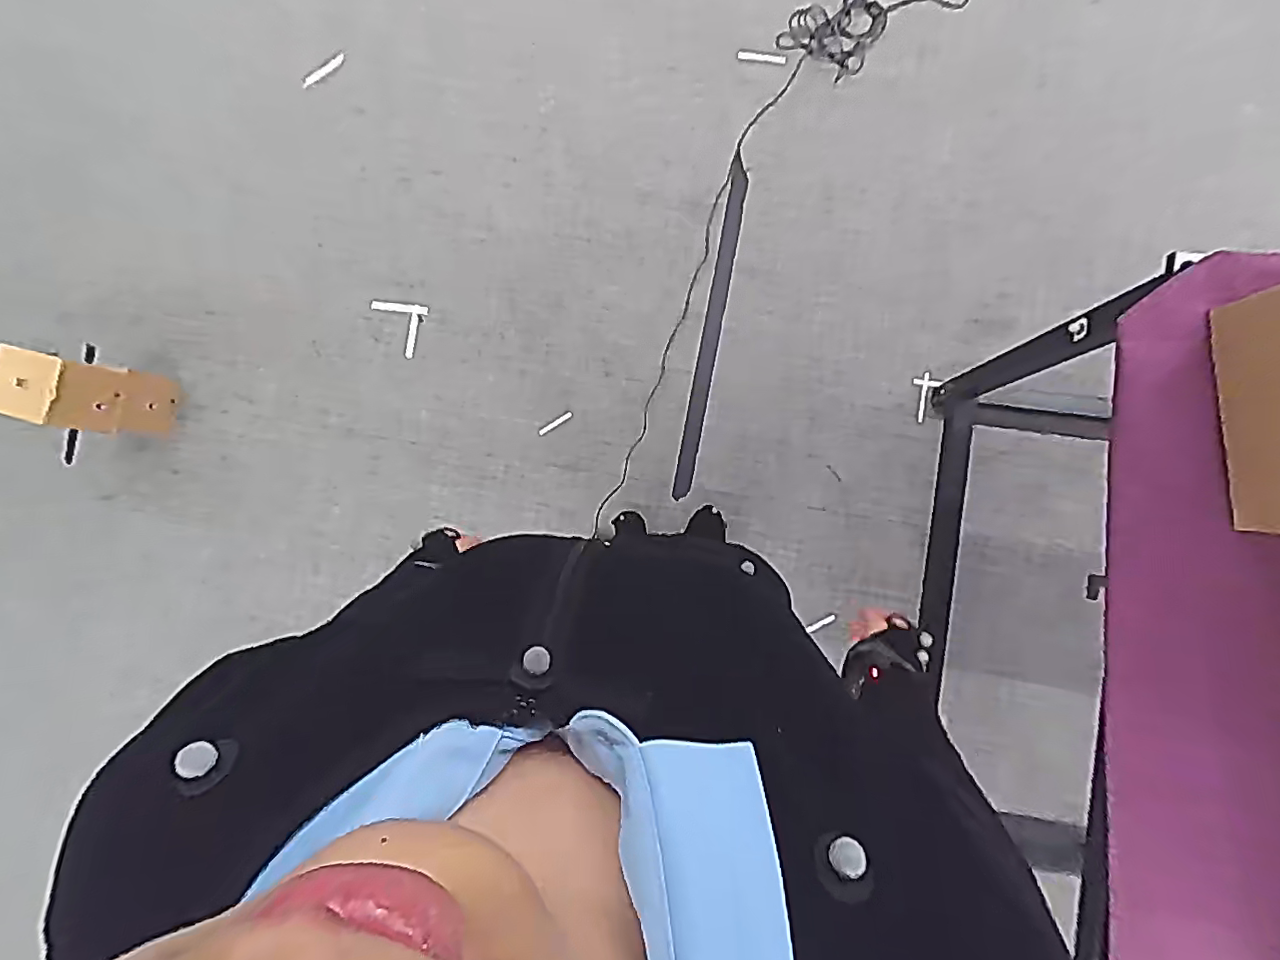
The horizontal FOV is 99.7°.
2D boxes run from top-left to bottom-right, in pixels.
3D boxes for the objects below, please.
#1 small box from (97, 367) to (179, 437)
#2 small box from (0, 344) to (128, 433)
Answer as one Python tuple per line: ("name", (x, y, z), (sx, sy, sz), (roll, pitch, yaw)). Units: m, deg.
("small box", (-1.470, -0.221, 1.534), (0.179, 0.176, 0.168), (8, 86, 4))
("small box", (-1.476, -0.224, 1.370), (0.179, 0.176, 0.168), (15, 88, 3))
